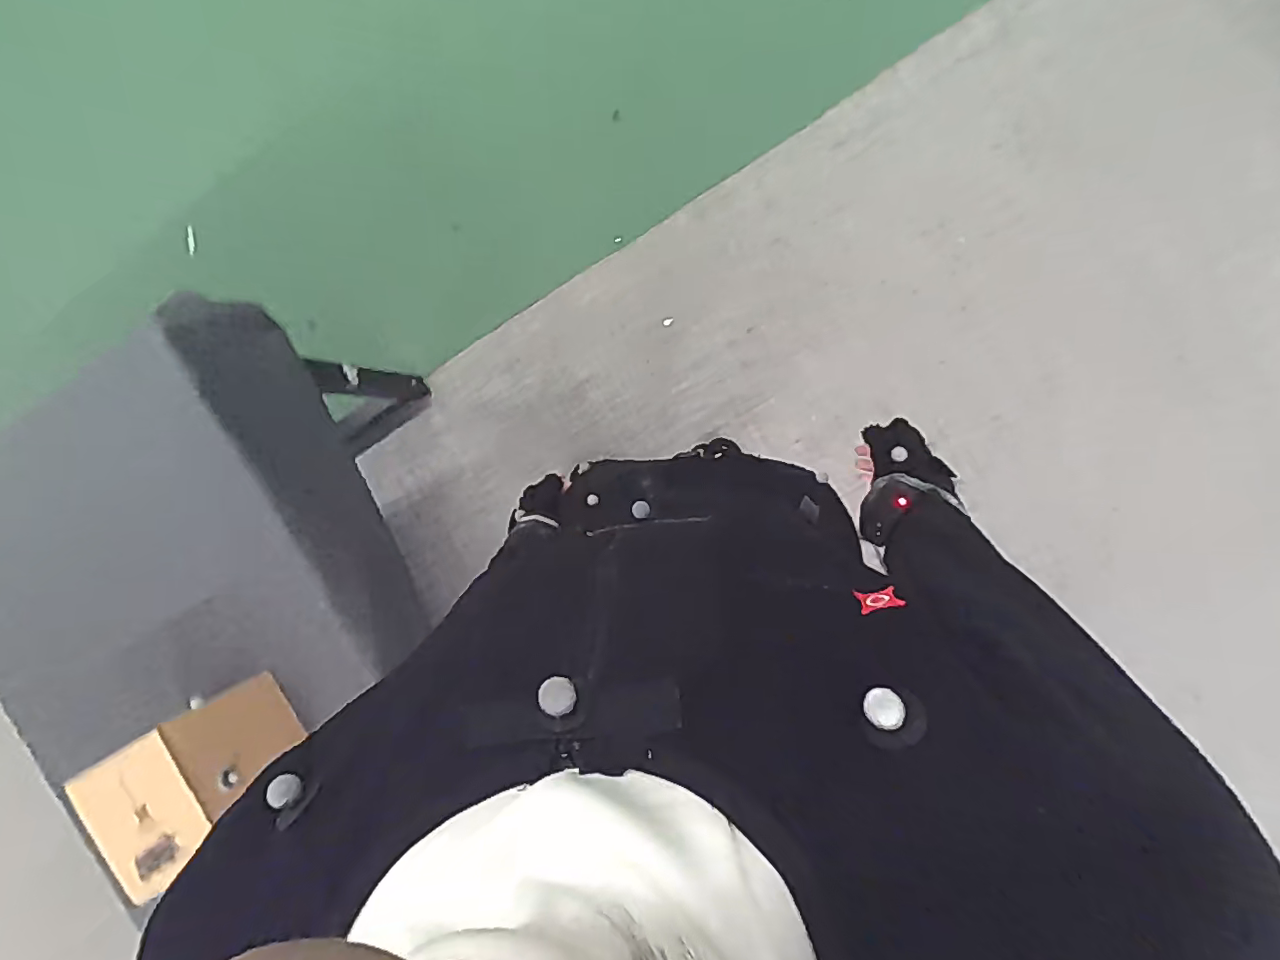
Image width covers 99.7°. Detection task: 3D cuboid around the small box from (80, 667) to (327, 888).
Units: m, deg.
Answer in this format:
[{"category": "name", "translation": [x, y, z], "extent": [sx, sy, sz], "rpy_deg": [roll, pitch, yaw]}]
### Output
[{"category": "small box", "translation": [-0.580, 0.394, 0.743], "extent": [0.168, 0.176, 0.179], "rpy_deg": [-31, 89, 10]}]
